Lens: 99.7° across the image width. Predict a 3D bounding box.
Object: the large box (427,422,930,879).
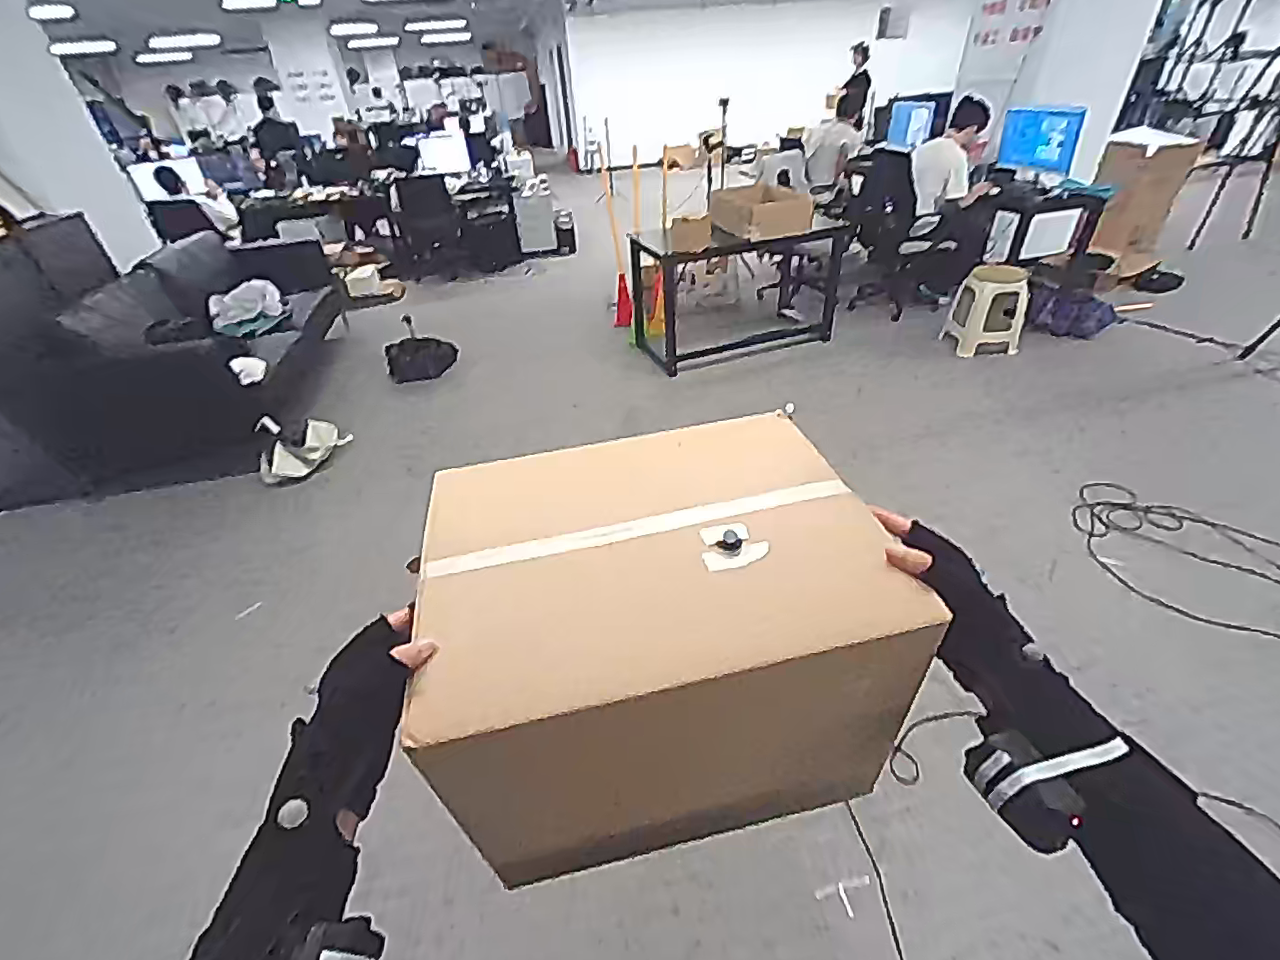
[{"bbox_3d":[0.017,0.171,0.608,0.408,0.320,0.320,-10,39,-8],"label":"large box"}]
